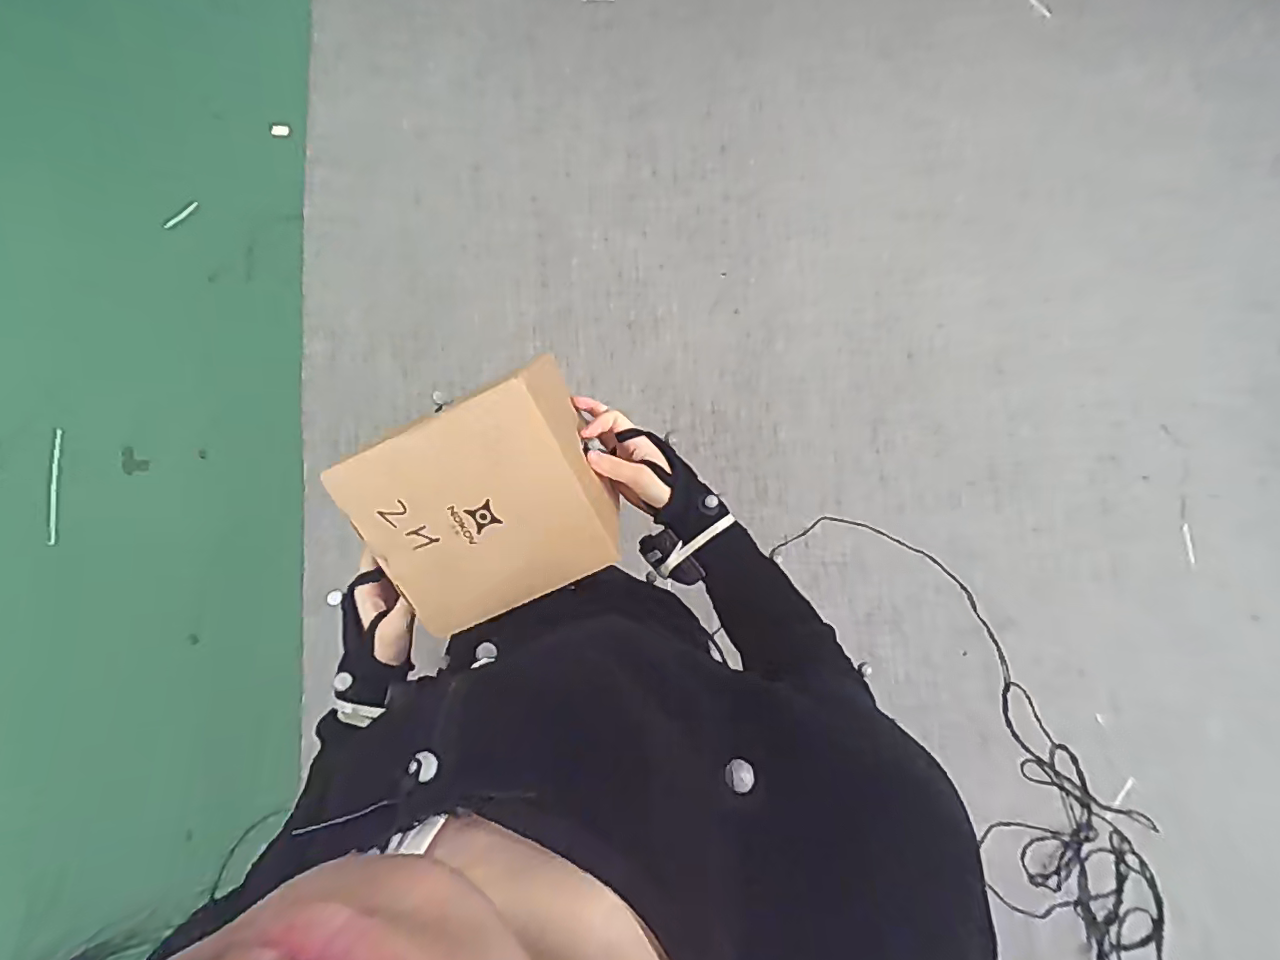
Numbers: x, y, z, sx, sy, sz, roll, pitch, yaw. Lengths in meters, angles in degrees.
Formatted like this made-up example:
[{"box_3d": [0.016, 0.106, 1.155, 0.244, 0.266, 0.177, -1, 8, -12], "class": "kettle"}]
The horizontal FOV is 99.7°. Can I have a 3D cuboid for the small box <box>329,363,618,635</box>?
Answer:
[{"box_3d": [-0.132, 0.004, 0.502, 0.179, 0.176, 0.168, -24, 107, 6], "class": "small box"}]
